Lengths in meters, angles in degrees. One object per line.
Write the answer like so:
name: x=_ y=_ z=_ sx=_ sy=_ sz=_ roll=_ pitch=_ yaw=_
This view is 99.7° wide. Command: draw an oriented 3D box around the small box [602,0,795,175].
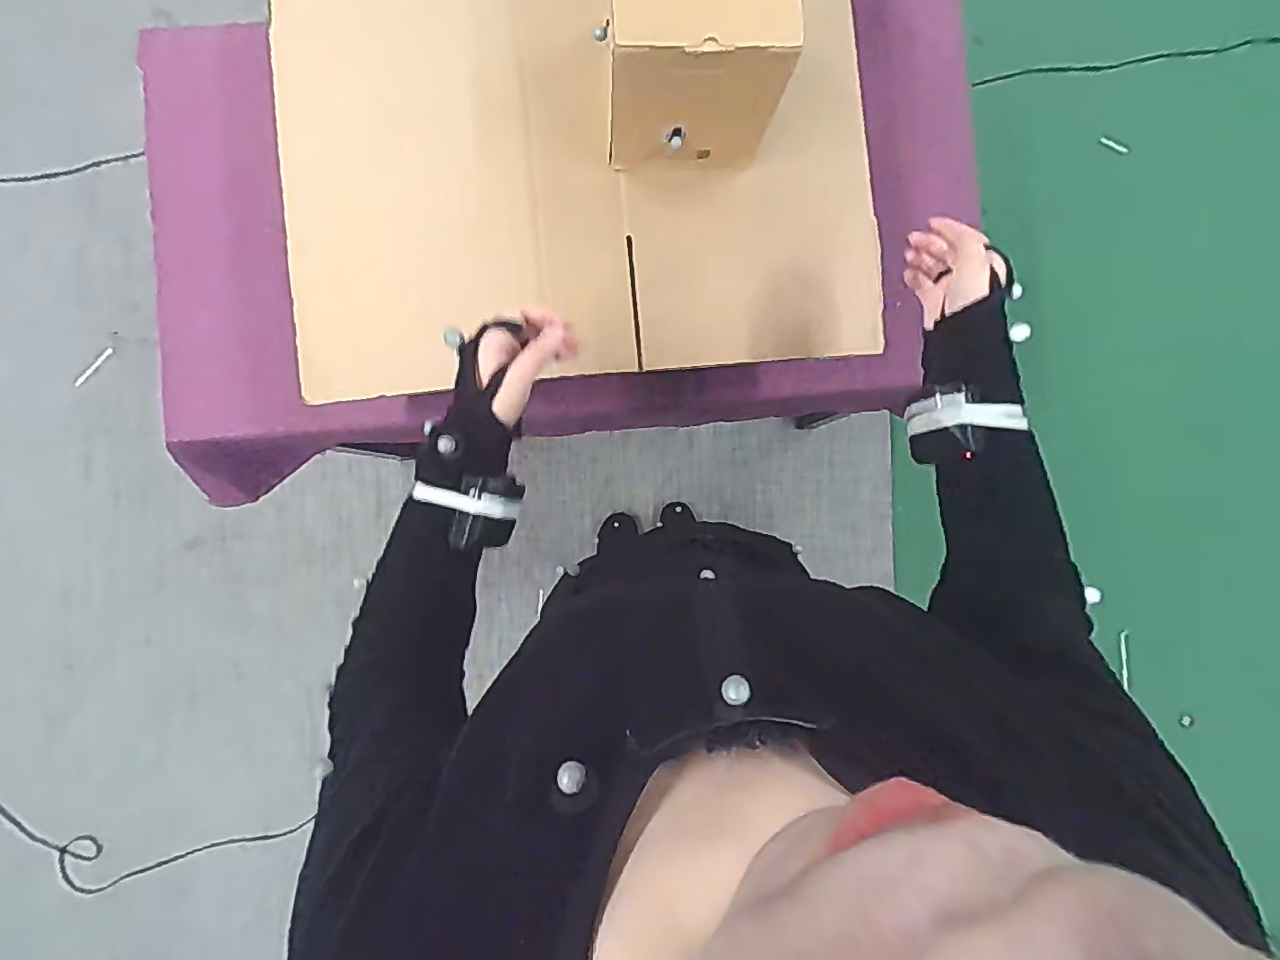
small box: x=0.046 y=-0.446 z=0.551 sx=0.168 sy=0.176 sz=0.179 roll=-3 pitch=89 yaw=-4
